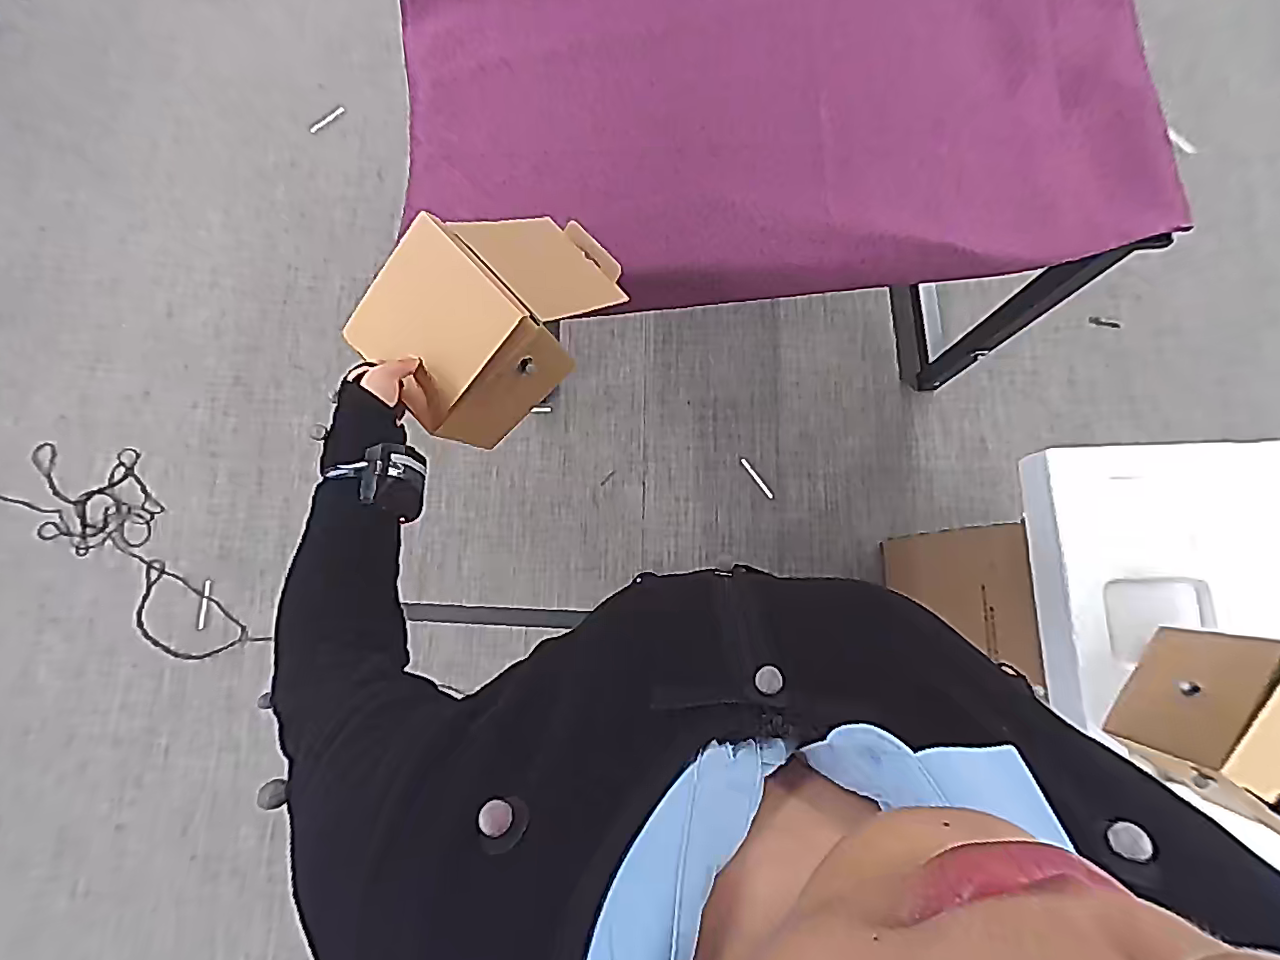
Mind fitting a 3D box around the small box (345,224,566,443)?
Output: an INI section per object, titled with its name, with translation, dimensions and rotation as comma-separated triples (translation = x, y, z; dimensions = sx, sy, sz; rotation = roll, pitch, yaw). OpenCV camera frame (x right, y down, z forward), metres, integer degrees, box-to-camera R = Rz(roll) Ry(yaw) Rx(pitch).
[small box]
translation = -0.211, -0.168, 0.678
dimensions = 0.179, 0.176, 0.168
rotation = -43, 82, 3
